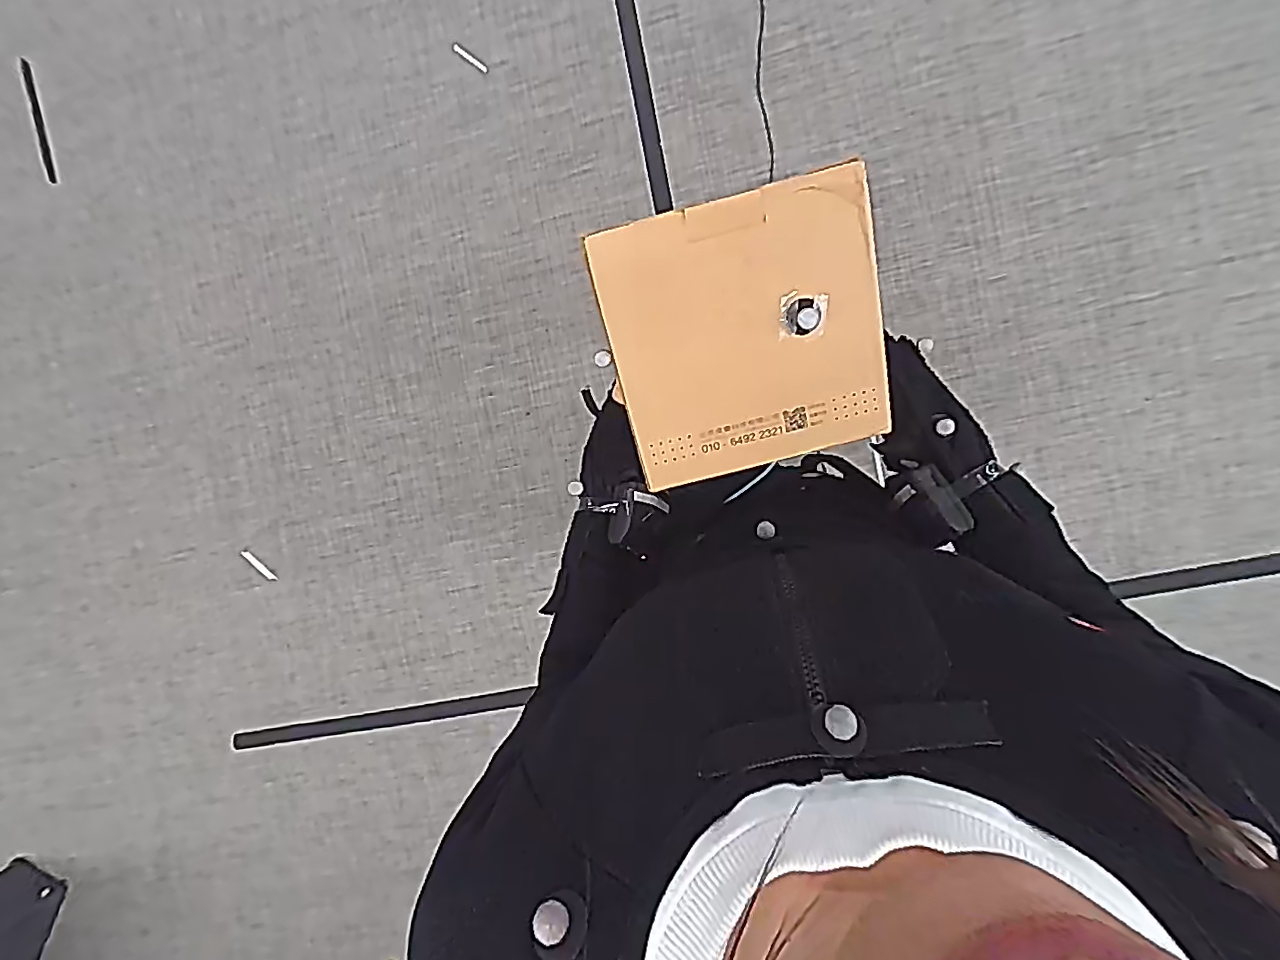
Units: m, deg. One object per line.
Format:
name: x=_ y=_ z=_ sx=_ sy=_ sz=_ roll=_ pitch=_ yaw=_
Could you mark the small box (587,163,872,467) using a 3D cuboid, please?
small box: x=0.066 y=-0.121 z=0.426 sx=0.168 sy=0.179 sz=0.176 roll=-13 pitch=111 yaw=5
